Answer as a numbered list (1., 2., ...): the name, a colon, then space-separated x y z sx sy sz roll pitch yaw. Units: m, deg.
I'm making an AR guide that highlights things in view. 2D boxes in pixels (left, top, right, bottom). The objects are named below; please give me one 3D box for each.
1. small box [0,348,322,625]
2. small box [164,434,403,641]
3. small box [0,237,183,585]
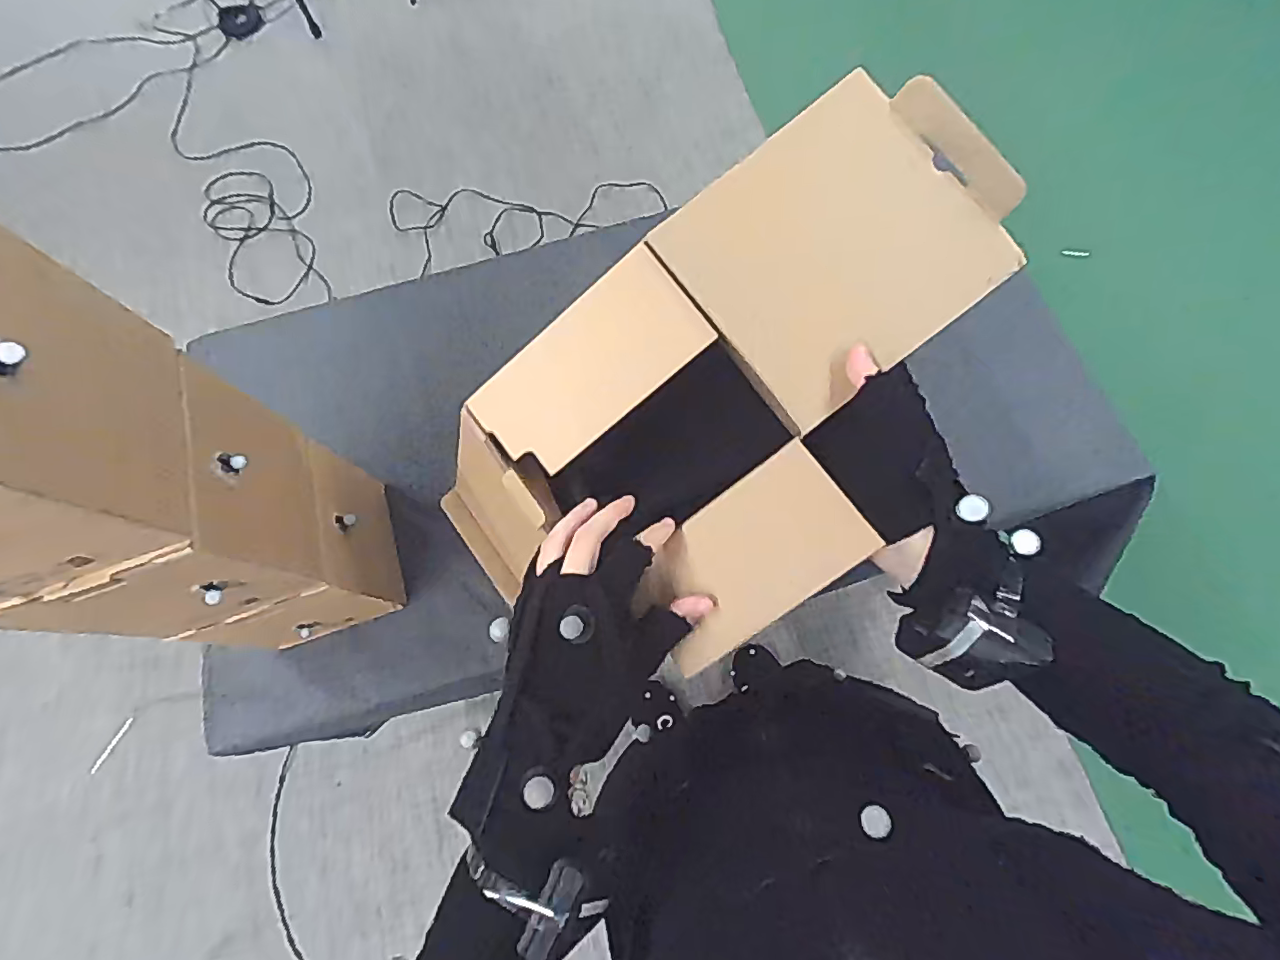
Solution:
1. small box: -0.410 0.021 0.475 0.168 0.176 0.179 -18 71 -4
2. small box: -0.402 0.076 0.628 0.168 0.176 0.179 -19 71 -3
3. small box: -0.421 -0.039 0.323 0.168 0.176 0.179 -19 71 -5
